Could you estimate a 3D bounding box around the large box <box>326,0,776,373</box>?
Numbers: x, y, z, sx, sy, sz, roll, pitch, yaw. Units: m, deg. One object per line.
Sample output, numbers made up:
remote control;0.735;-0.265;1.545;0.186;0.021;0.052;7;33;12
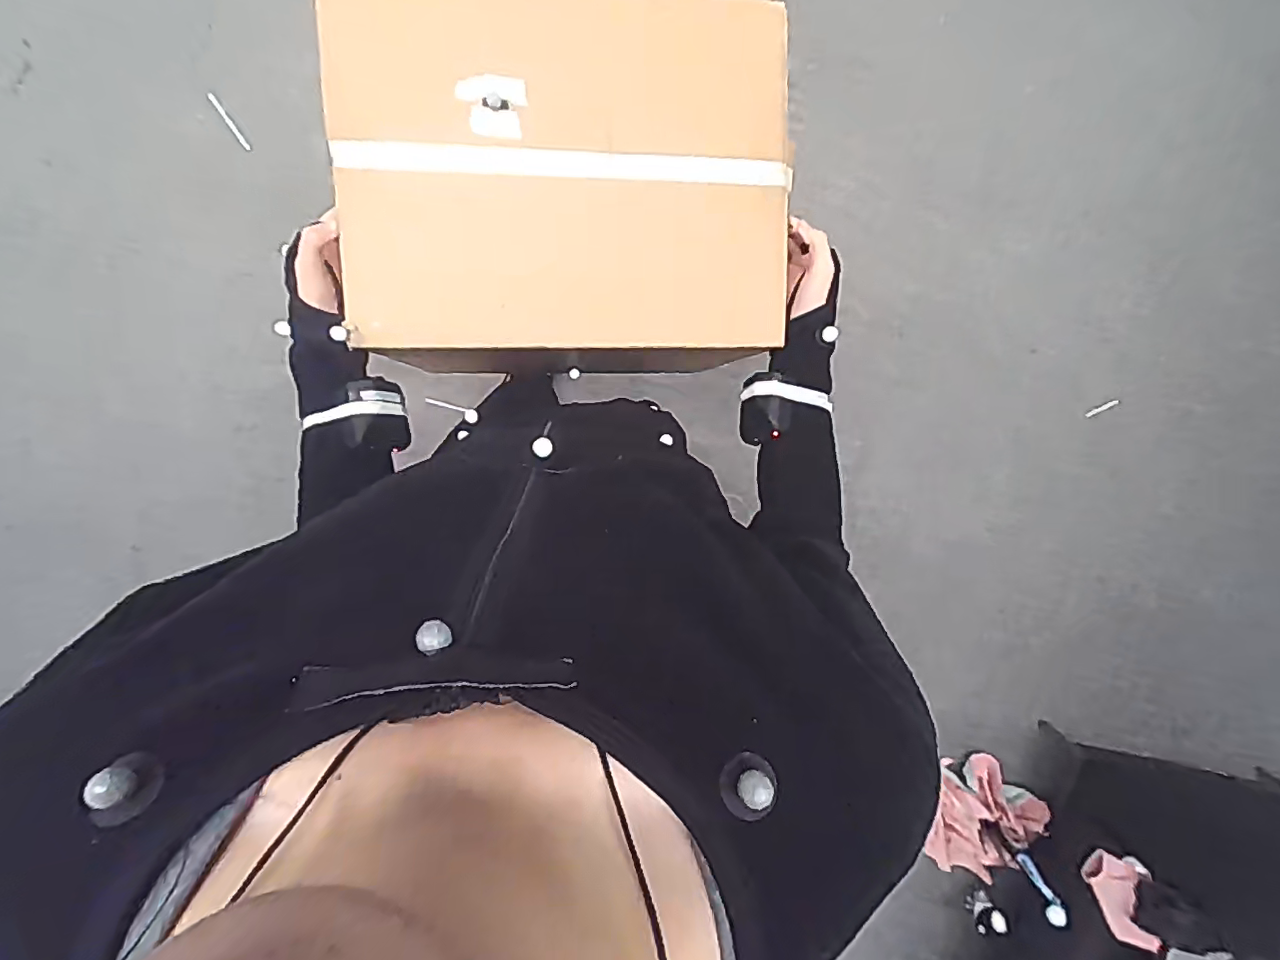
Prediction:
large box;-0.083;-0.295;0.645;0.408;0.320;0.320;-2;96;-8
